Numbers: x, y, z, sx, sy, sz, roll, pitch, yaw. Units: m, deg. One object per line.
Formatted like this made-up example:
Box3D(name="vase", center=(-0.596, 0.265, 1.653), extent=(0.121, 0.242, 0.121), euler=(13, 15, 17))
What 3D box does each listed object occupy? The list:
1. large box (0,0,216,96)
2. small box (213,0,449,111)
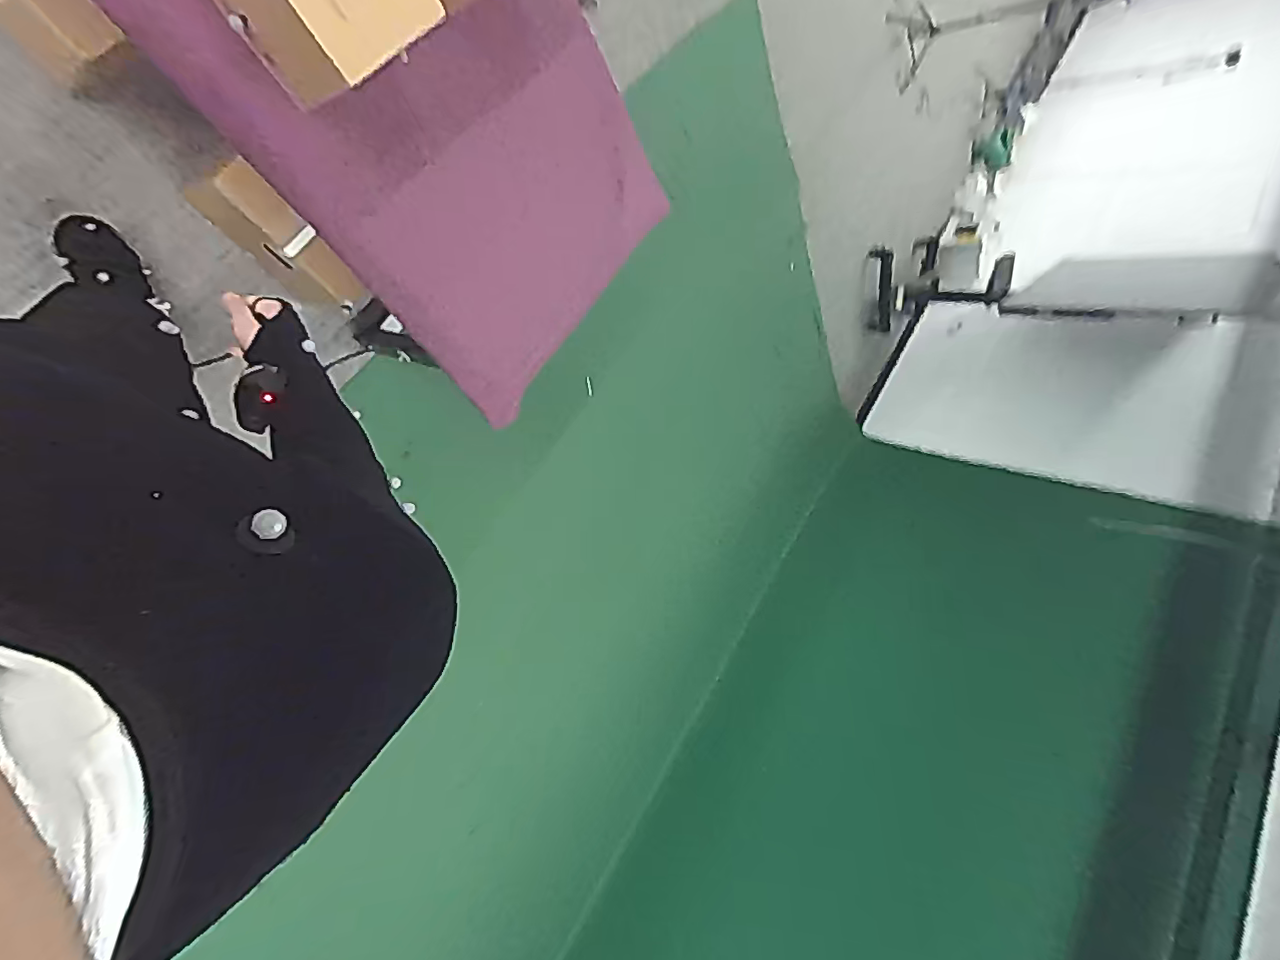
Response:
Box3D(name="large box", center=(-0.935, -0.937, 0.898), extent=(0.408, 0.320, 0.320), euler=(-56, 139, -18))
Box3D(name="small box", center=(-0.376, -0.582, 0.645), extent=(0.179, 0.176, 0.168), euler=(-55, 137, -19))
